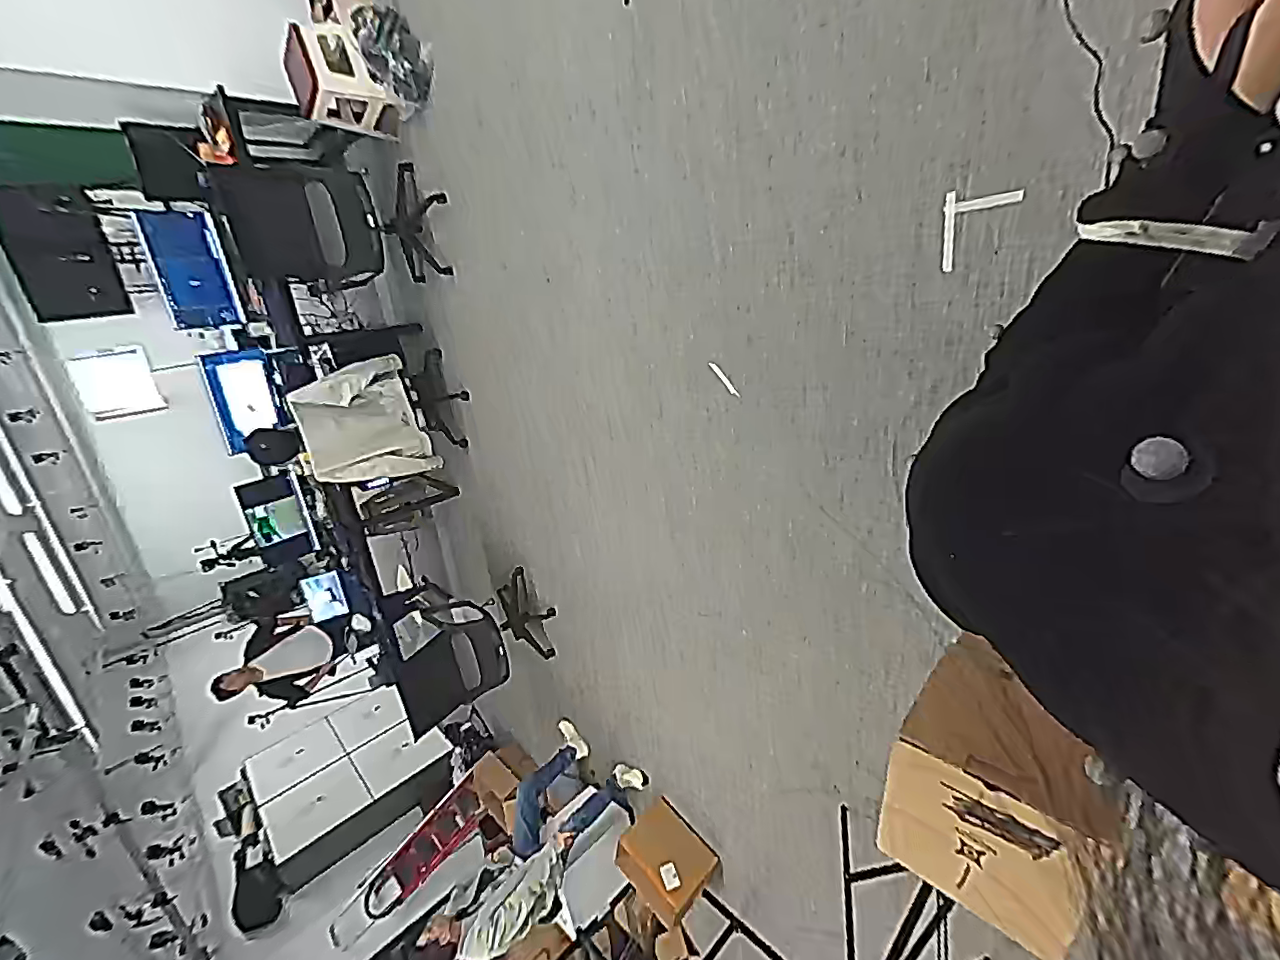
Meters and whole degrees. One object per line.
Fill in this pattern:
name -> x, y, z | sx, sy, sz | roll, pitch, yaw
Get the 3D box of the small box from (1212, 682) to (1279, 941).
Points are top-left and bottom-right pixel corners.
small box -> 0.654, 0.319, 0.485 | 0.168, 0.176, 0.179 | 15, 120, 45

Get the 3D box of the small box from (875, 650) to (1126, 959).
small box -> 0.362, 0.309, 0.549 | 0.168, 0.176, 0.179 | 18, 123, 41
